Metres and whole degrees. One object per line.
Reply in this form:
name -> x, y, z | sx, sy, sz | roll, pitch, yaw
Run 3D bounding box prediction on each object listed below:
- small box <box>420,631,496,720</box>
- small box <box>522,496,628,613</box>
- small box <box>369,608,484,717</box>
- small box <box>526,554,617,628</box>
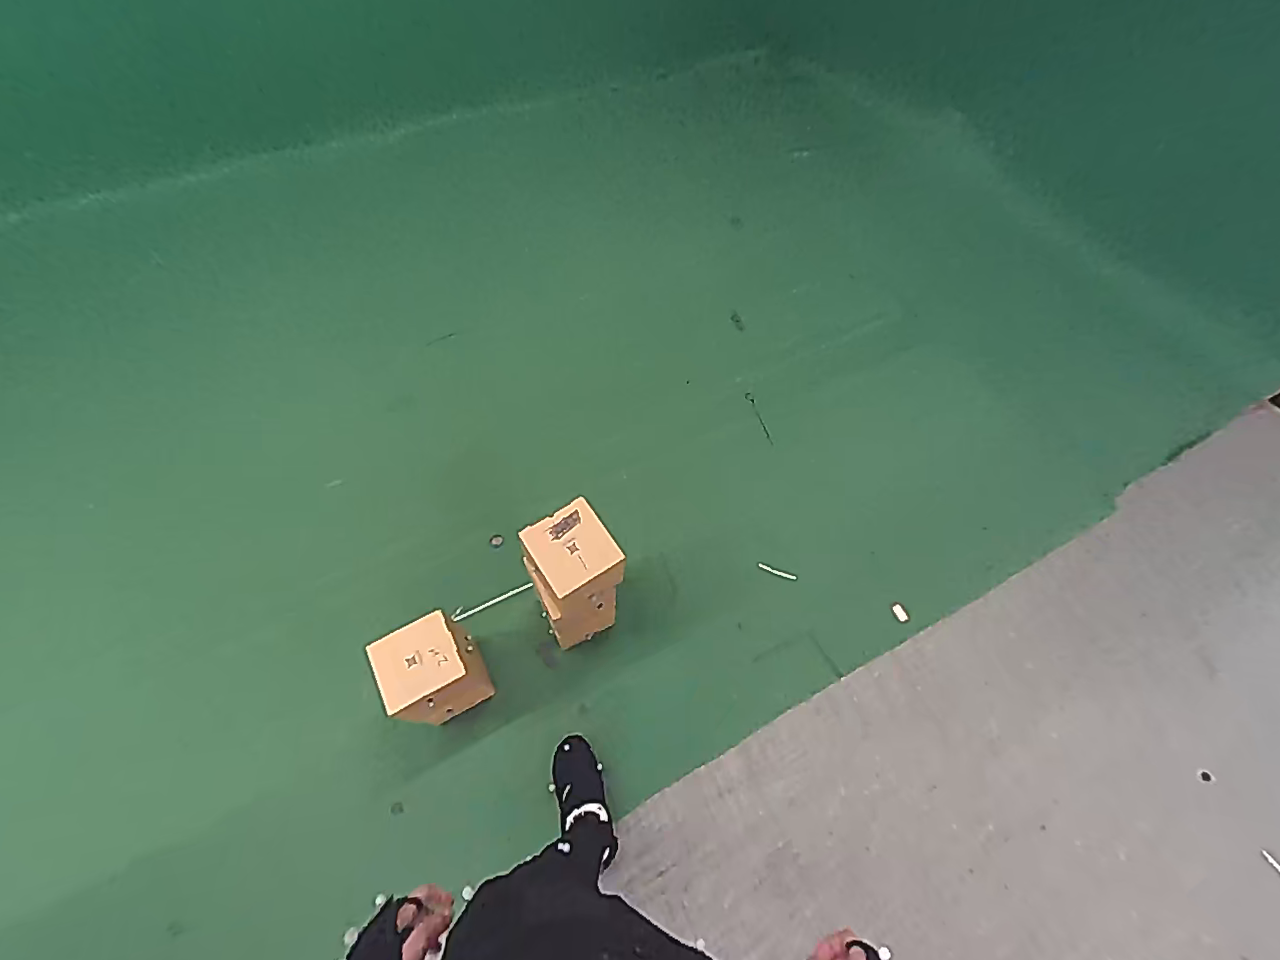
small box -> -0.491, 0.500, 1.397 | 0.168, 0.176, 0.179 | -26, 65, -15
small box -> -0.146, 0.171, 1.216 | 0.168, 0.176, 0.179 | -30, 69, -18
small box -> -0.486, 0.427, 1.249 | 0.179, 0.176, 0.168 | -26, 65, -15
small box -> -0.167, 0.254, 1.356 | 0.168, 0.176, 0.179 | -25, 66, -16
